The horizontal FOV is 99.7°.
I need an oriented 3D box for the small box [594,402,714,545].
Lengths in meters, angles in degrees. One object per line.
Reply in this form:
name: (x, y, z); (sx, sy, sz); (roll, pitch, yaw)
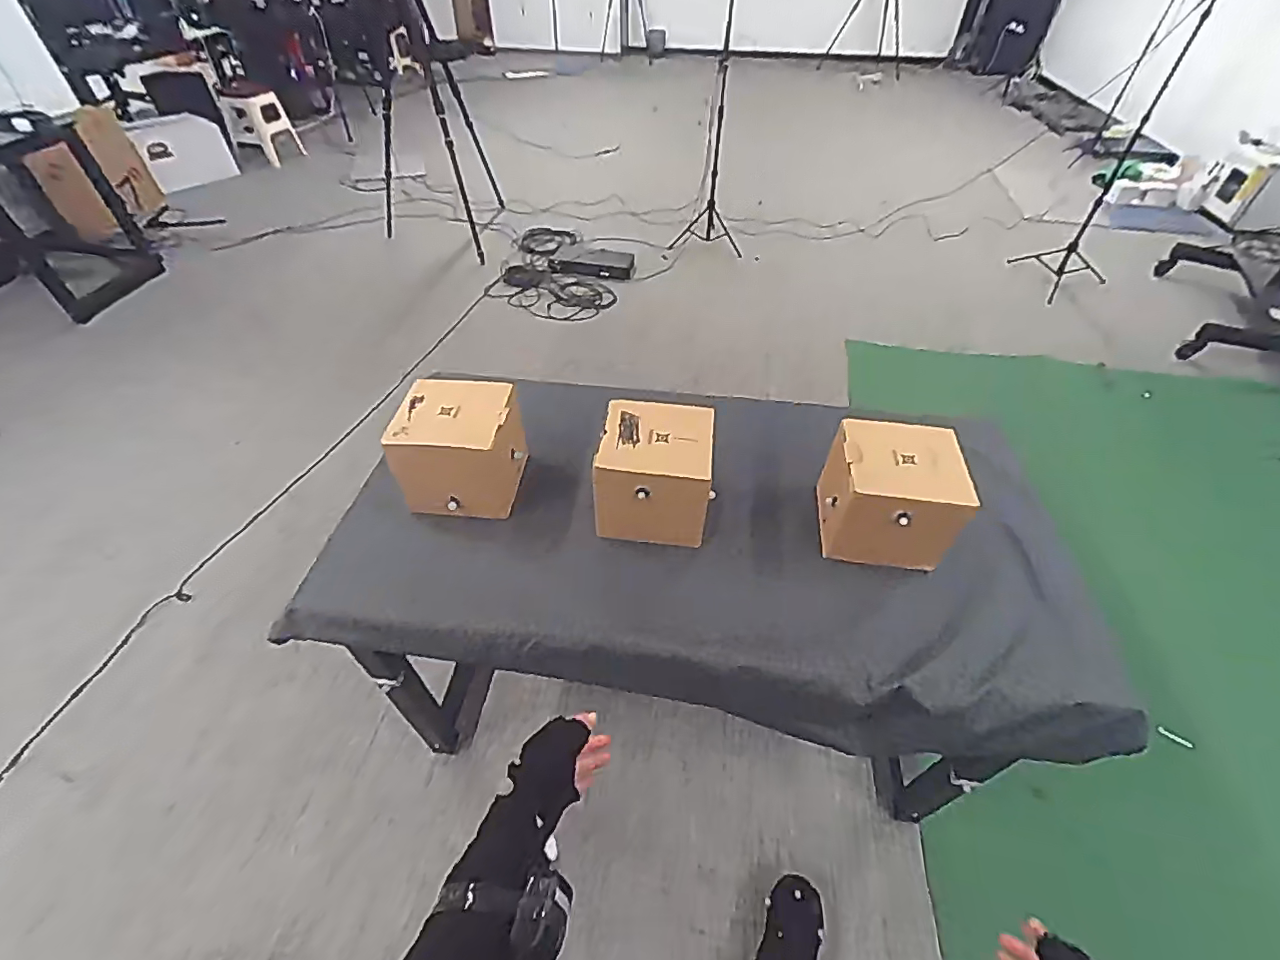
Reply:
small box: (0.026, -0.008, 0.903); (0.179, 0.176, 0.168); (6, 47, 4)

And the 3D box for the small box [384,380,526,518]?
small box: (-0.304, -0.051, 0.937); (0.179, 0.176, 0.168); (4, 47, 2)

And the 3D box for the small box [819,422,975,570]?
small box: (0.398, 0.028, 0.880); (0.179, 0.176, 0.168); (7, 48, 5)
